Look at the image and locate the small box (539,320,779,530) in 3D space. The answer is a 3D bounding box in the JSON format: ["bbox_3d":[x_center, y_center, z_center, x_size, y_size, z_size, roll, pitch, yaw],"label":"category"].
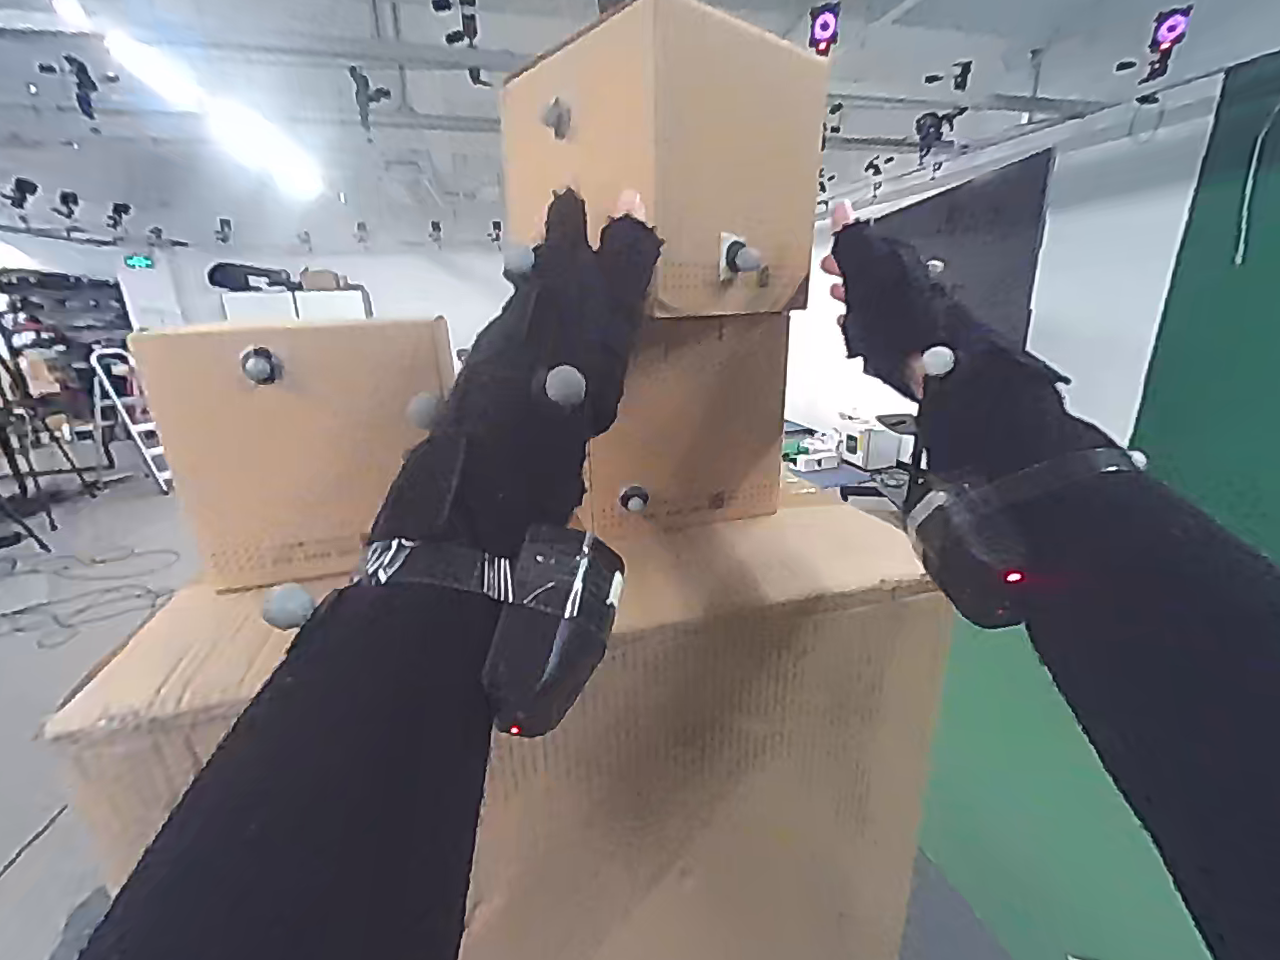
[{"bbox_3d":[0.010,-0.062,0.491,0.168,0.176,0.179,-8,19,-17],"label":"small box"}]

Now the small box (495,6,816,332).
[{"bbox_3d":[0.009,-0.206,0.414,0.168,0.176,0.179,-19,26,-37],"label":"small box"}]

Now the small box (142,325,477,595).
[{"bbox_3d":[-0.230,-0.030,0.433,0.168,0.176,0.179,-9,19,-13],"label":"small box"}]
